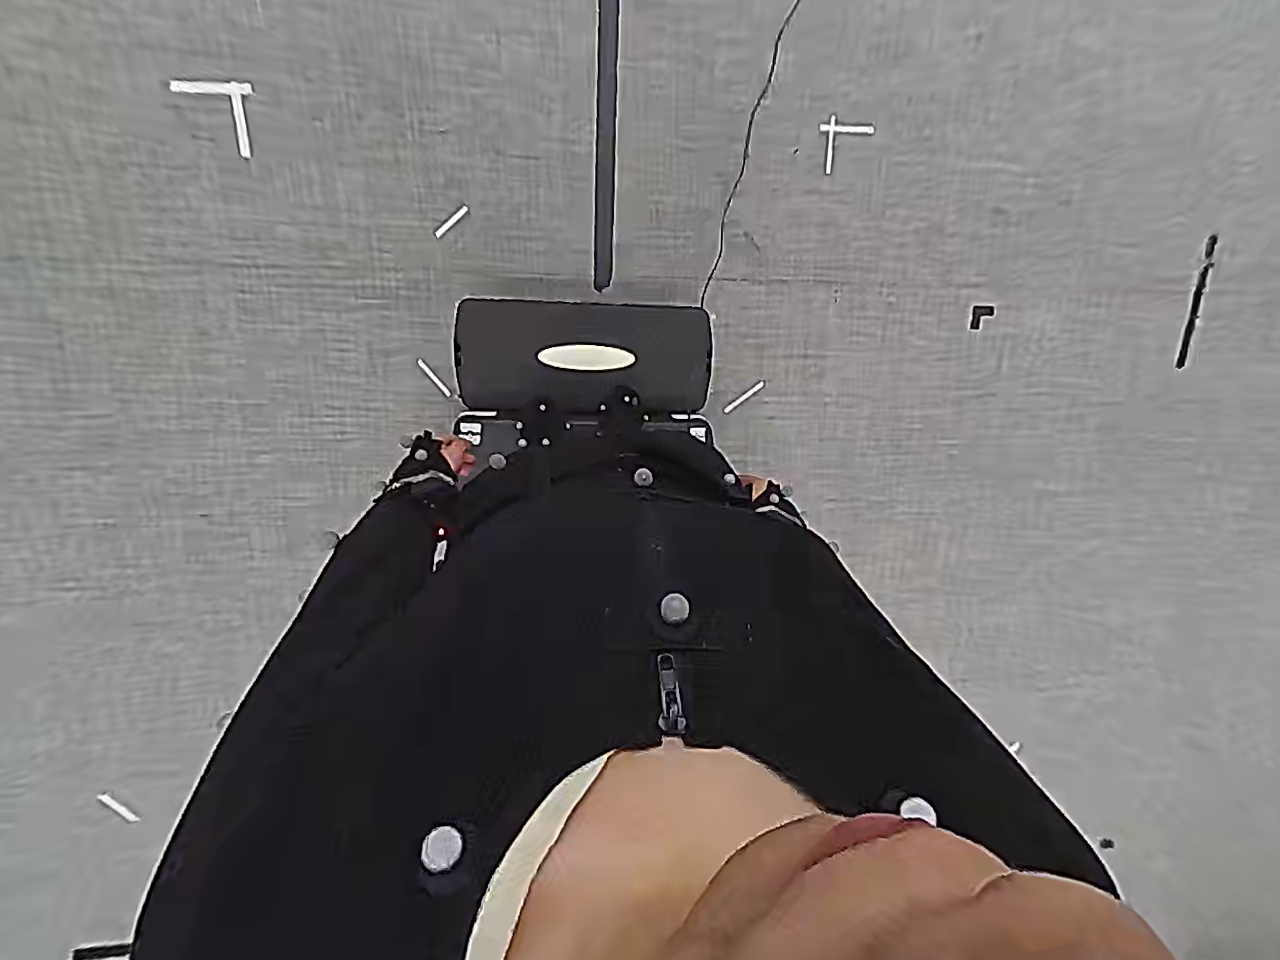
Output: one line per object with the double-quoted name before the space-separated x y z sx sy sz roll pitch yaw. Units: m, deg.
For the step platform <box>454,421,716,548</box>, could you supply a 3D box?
"step platform" -0.140 0.013 1.456 0.684 0.204 0.286 4 100 -7
